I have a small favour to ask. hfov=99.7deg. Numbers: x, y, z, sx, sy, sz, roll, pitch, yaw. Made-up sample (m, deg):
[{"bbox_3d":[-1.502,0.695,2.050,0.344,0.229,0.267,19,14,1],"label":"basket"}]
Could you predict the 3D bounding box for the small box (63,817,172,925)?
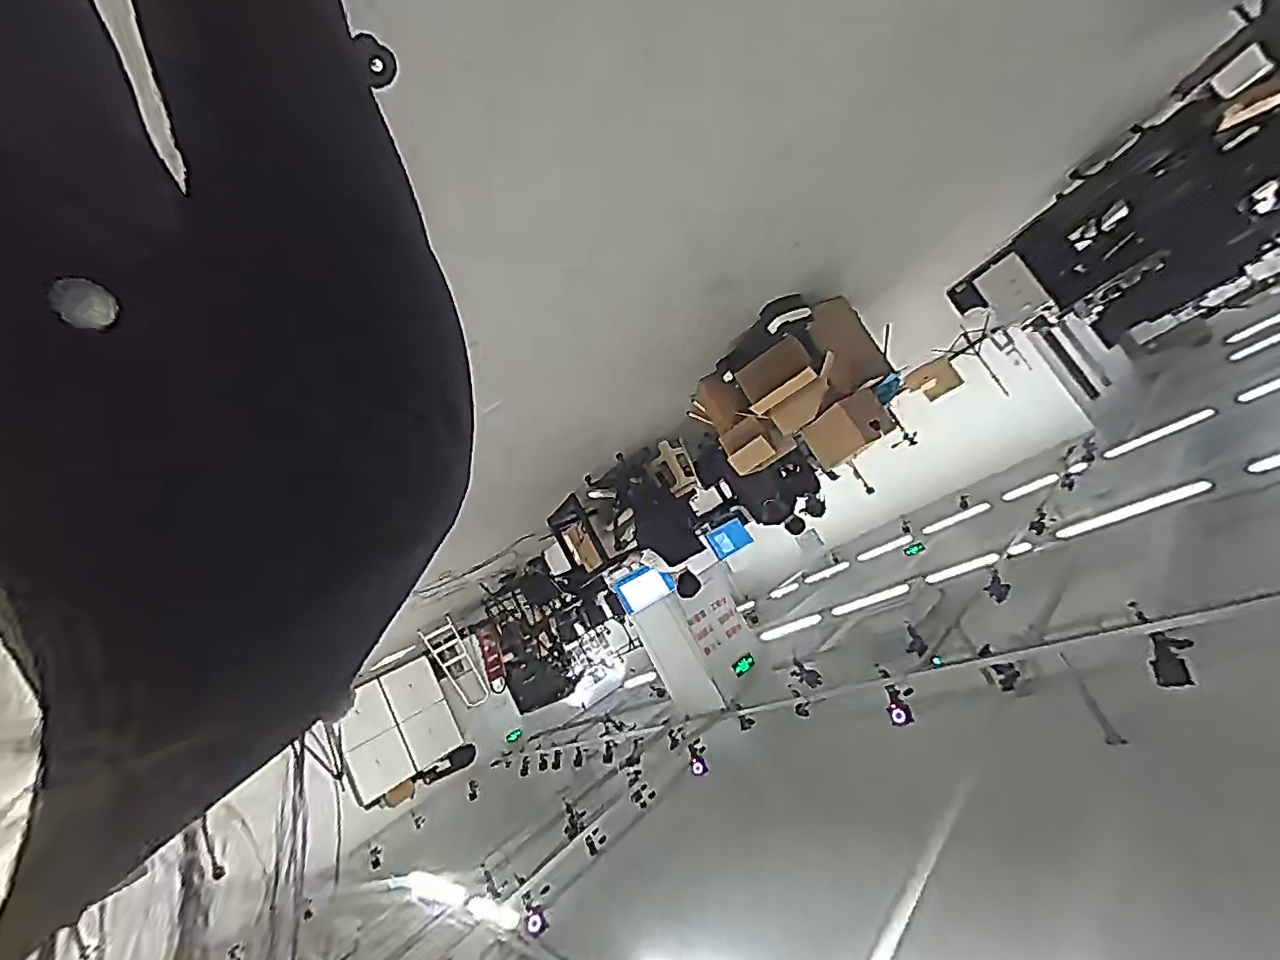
[{"bbox_3d":[-1.461,1.081,1.513,0.179,0.176,0.168,-21,167,-36],"label":"small box"}]
